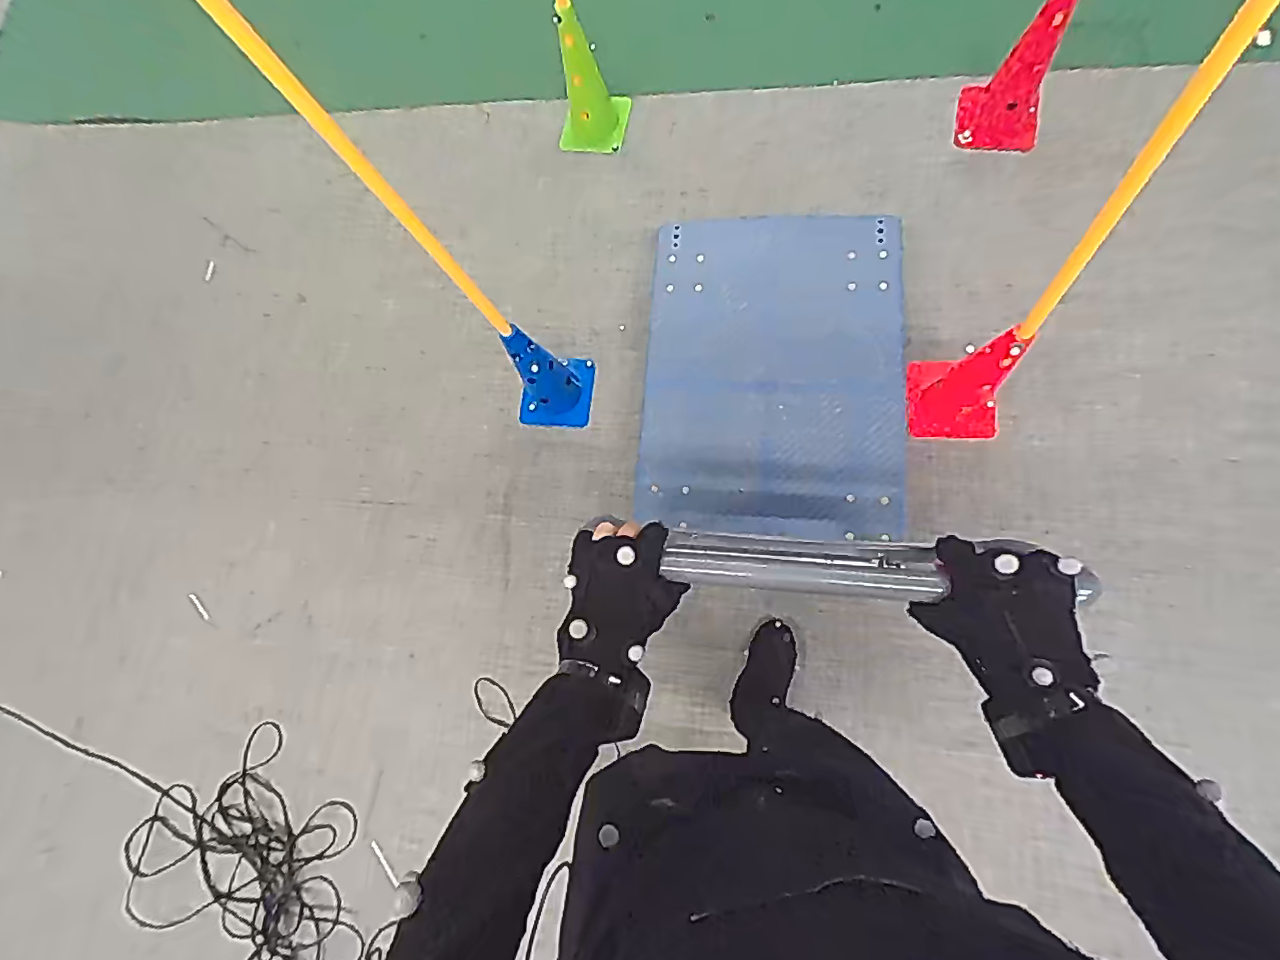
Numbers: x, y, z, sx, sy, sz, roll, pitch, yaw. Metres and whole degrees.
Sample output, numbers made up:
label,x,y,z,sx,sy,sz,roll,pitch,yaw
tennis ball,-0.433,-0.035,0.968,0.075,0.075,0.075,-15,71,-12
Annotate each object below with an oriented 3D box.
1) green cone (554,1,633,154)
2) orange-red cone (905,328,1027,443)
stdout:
label,x,y,z,sx,sy,sz,roll,pitch,yaw
green cone,-0.160,-1.139,1.514,0.202,0.368,0.200,9,79,12
orange-red cone,0.733,-0.228,1.178,0.199,0.360,0.198,4,78,12
